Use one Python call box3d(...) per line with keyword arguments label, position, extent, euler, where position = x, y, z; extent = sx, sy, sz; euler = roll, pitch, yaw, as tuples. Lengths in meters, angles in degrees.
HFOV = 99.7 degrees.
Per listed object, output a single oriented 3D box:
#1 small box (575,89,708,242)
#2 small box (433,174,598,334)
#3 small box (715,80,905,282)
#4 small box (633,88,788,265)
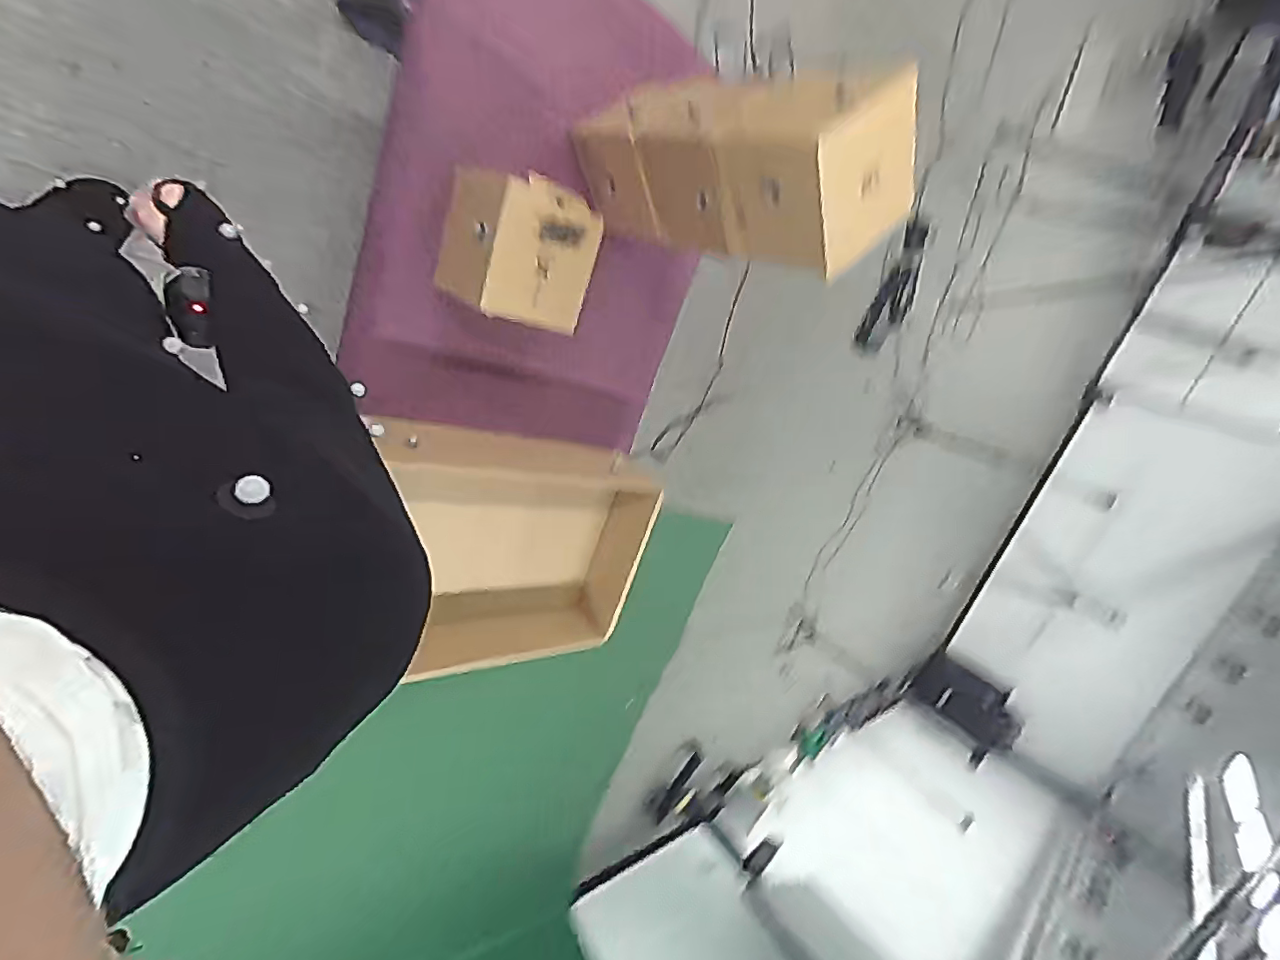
box3d(label="small box", position=(0.011, -0.531, 0.914), extent=(0.179, 0.176, 0.168), euler=(-40, 138, -17))
box3d(label="small box", position=(-0.198, -0.348, 0.834), extent=(0.168, 0.176, 0.179), euler=(2, 115, -46))
box3d(label="small box", position=(0.216, -0.389, 0.707), extent=(0.179, 0.176, 0.168), euler=(-41, 137, -15))
box3d(label="small box", position=(0.113, -0.455, 0.813), extent=(0.168, 0.176, 0.179), euler=(-39, 137, -16))
